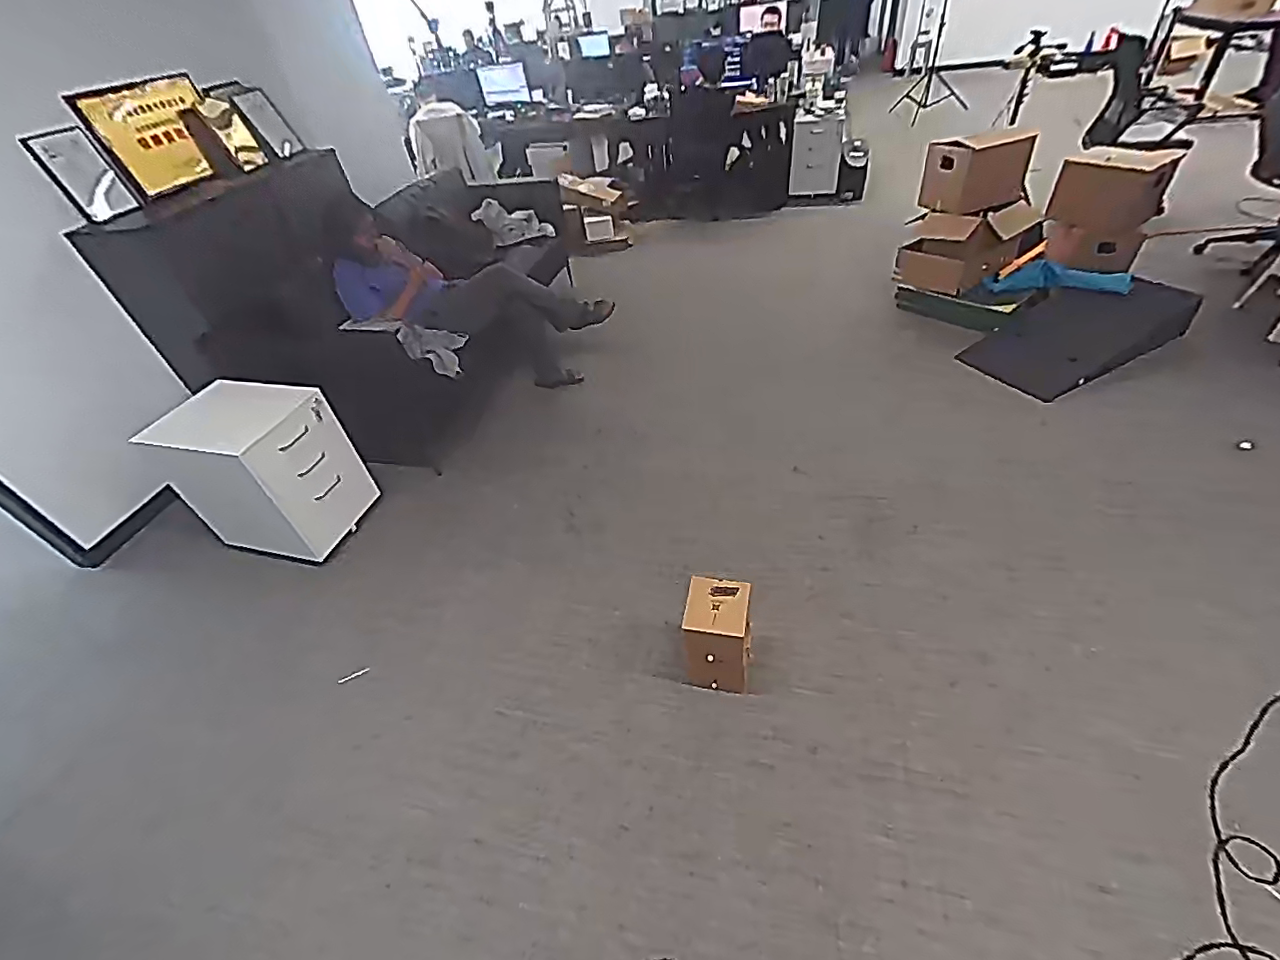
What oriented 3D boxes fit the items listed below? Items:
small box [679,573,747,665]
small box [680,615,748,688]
[{"bbox_3d":[0.208,0.391,1.520,0.168,0.176,0.179,5,44,14],"label":"small box"},{"bbox_3d":[0.226,0.507,1.636,0.179,0.176,0.168,6,44,15],"label":"small box"}]
